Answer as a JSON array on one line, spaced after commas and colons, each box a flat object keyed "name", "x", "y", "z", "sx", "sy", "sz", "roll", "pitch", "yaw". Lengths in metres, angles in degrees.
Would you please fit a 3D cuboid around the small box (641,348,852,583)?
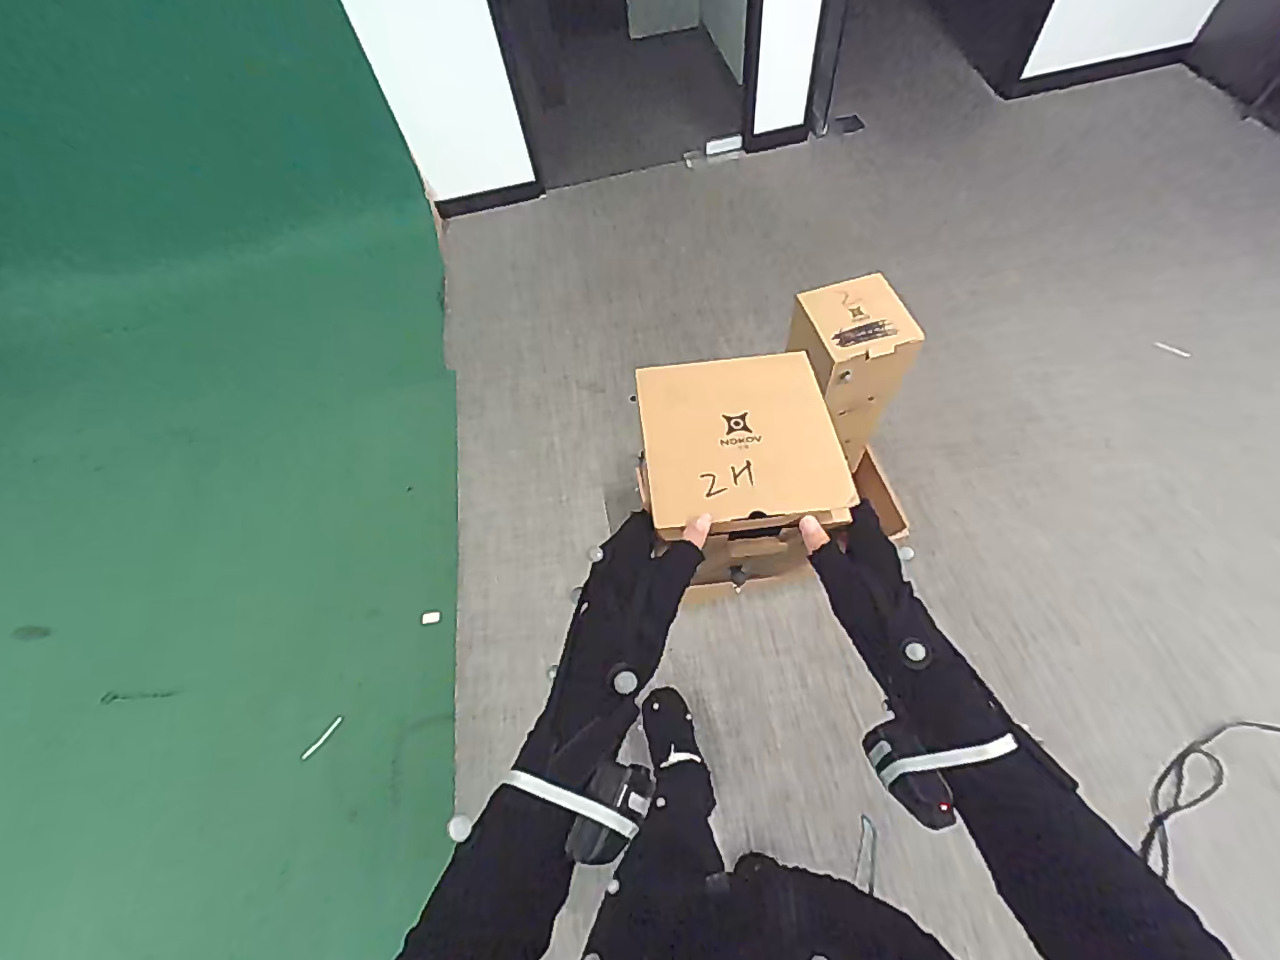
[{"name": "small box", "x": 0.089, "y": -0.007, "z": 0.551, "sx": 0.168, "sy": 0.176, "sz": 0.179, "roll": -6, "pitch": 65, "yaw": 0}]

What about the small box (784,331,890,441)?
[{"name": "small box", "x": 0.411, "y": -0.189, "z": 1.178, "sx": 0.168, "sy": 0.176, "sz": 0.179, "roll": -12, "pitch": 60, "yaw": 0}]

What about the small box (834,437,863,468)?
[{"name": "small box", "x": 0.427, "y": -0.125, "z": 1.310, "sx": 0.168, "sy": 0.176, "sz": 0.179, "roll": -13, "pitch": 61, "yaw": 0}]
